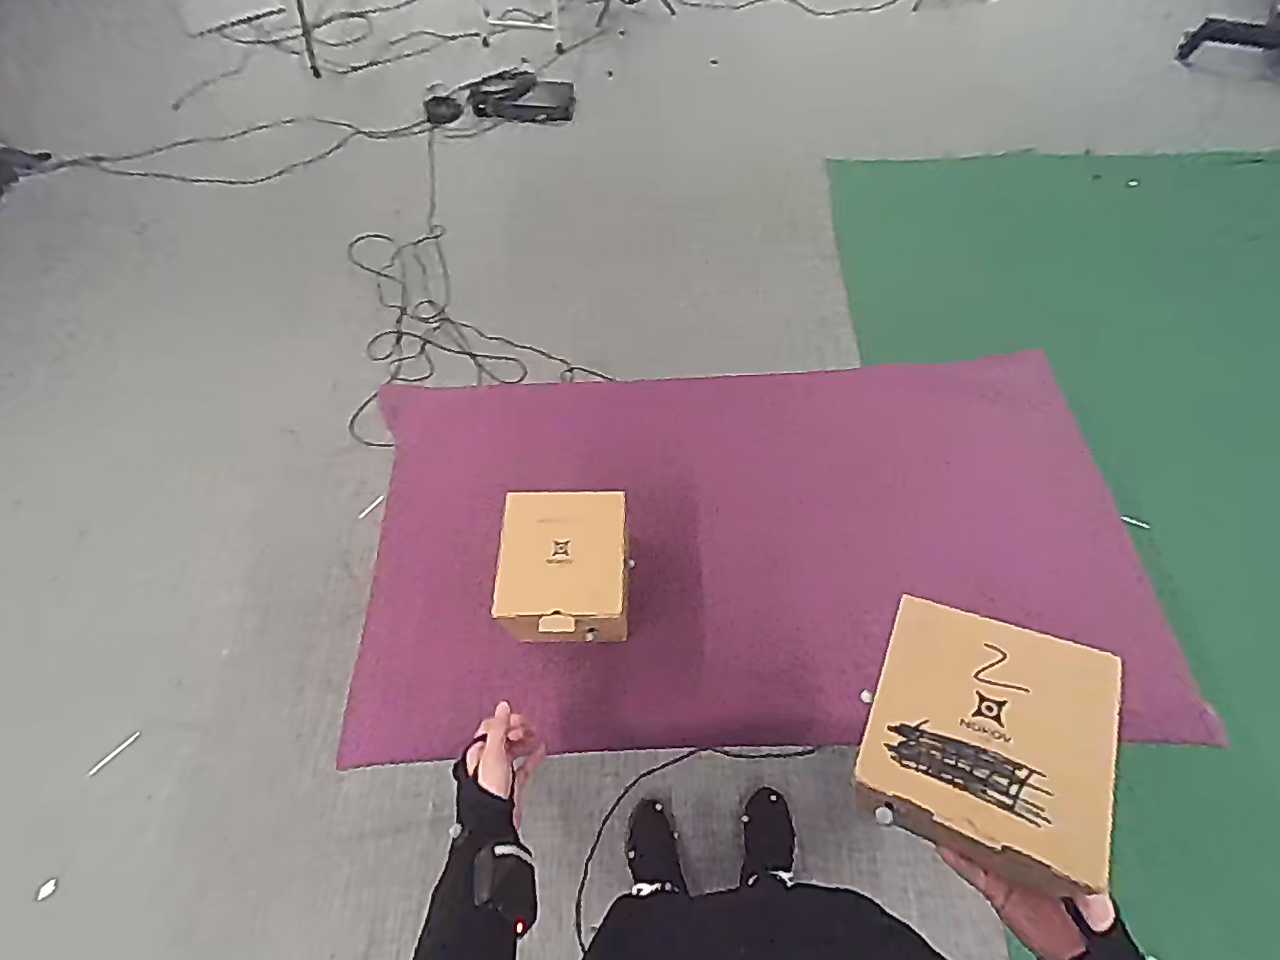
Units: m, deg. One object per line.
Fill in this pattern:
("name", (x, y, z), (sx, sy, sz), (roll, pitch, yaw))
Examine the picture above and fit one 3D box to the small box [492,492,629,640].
("small box", (-0.102, 0.131, 0.788), (0.168, 0.176, 0.179), (1, 62, 2))
